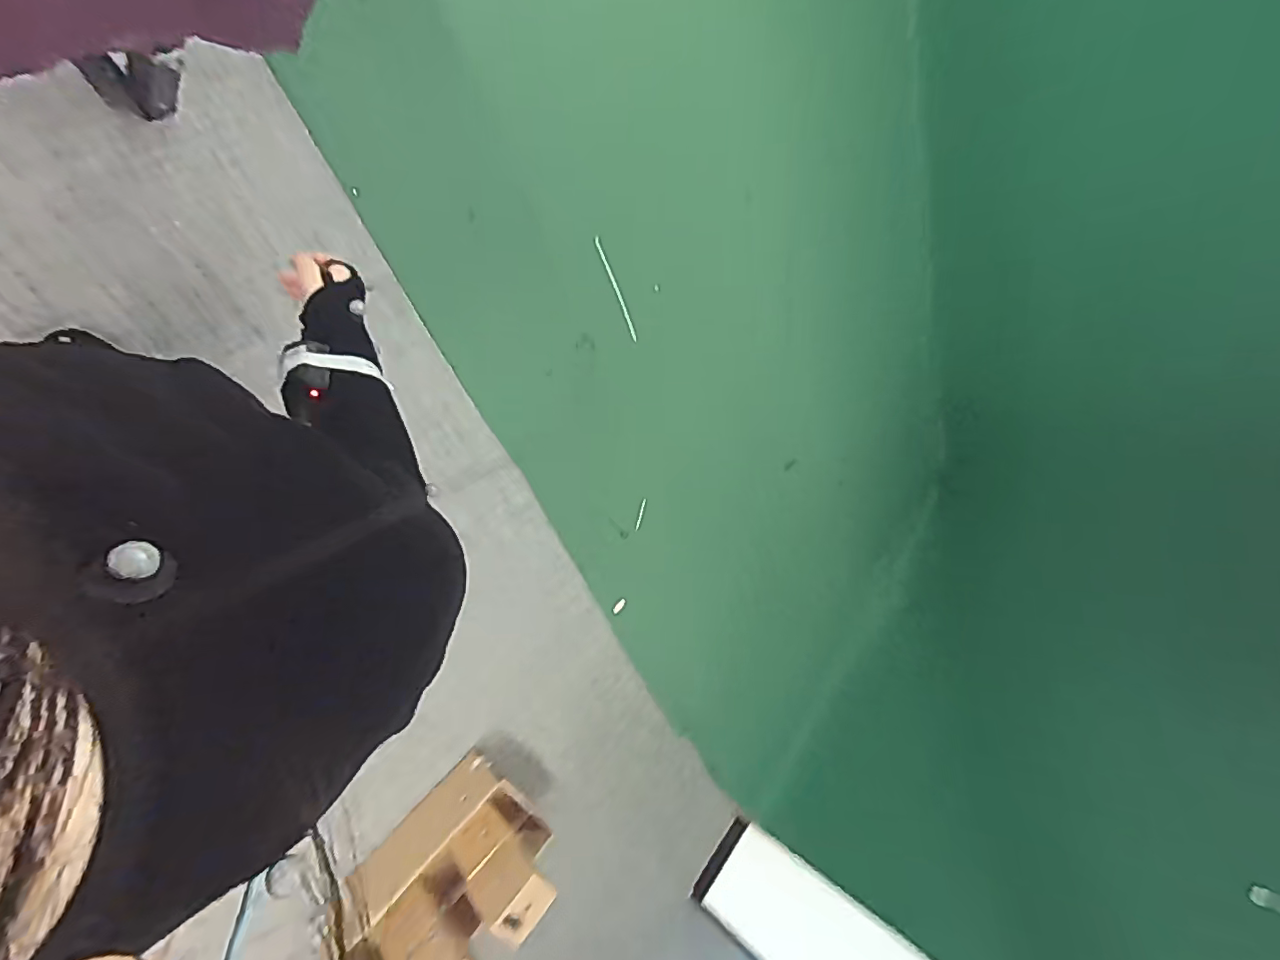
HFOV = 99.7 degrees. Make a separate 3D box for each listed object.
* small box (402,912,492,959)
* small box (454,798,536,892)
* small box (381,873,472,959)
[{"bbox_3d":[-0.552,1.397,1.551,0.168,0.176,0.179,-43,125,-27],"label":"small box"},{"bbox_3d":[-0.484,1.198,1.792,0.168,0.176,0.179,-40,125,-28],"label":"small box"},{"bbox_3d":[-0.662,1.367,1.670,0.168,0.176,0.179,-44,126,-26],"label":"small box"}]
